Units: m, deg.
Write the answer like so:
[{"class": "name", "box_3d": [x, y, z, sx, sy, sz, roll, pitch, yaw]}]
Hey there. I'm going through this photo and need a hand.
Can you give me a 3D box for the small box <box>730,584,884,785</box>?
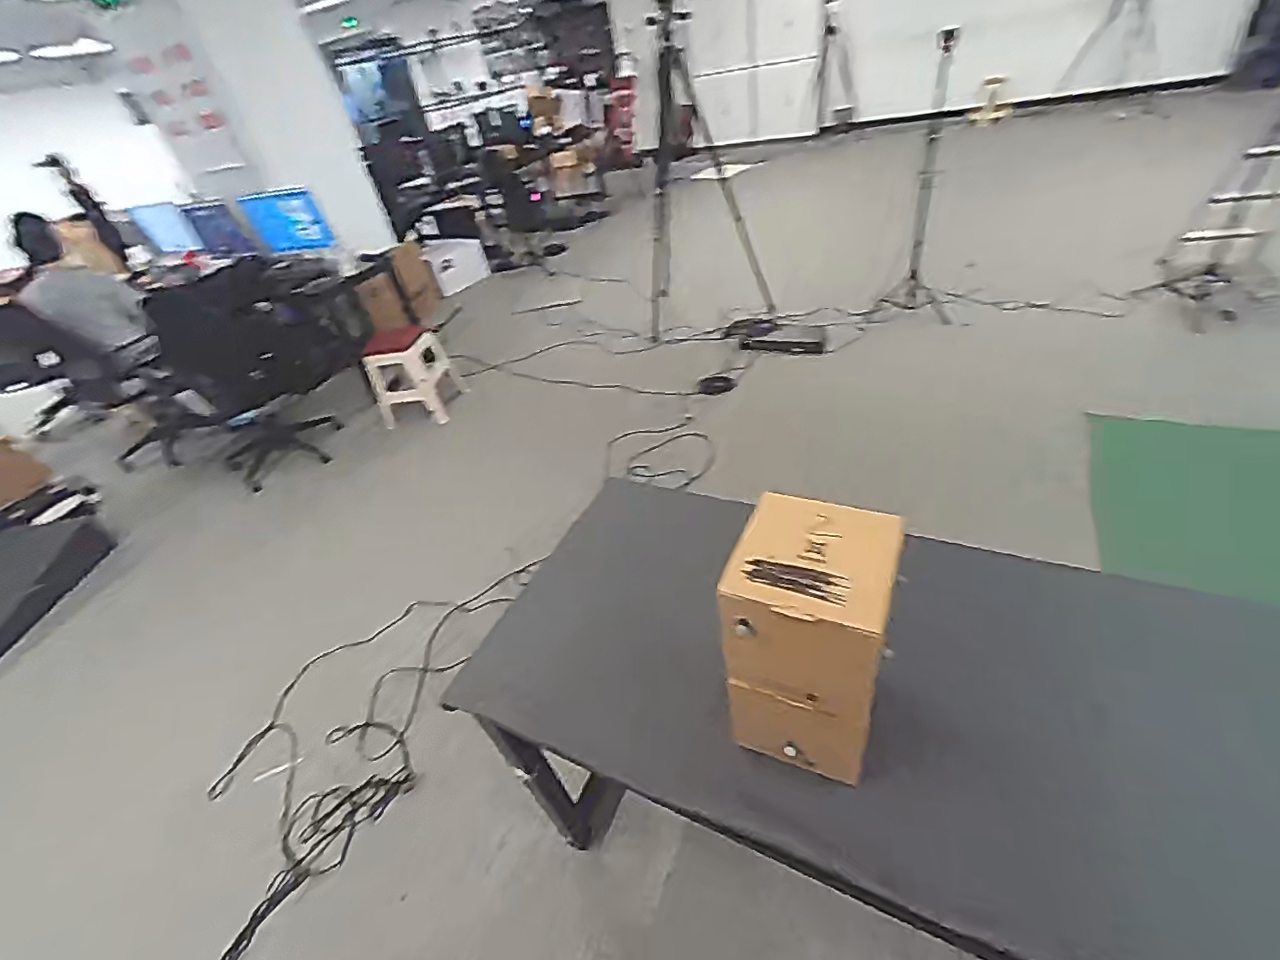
[{"class": "small box", "box_3d": [0.231, 0.279, 0.751, 0.168, 0.176, 0.179, 9, 42, 25]}]
